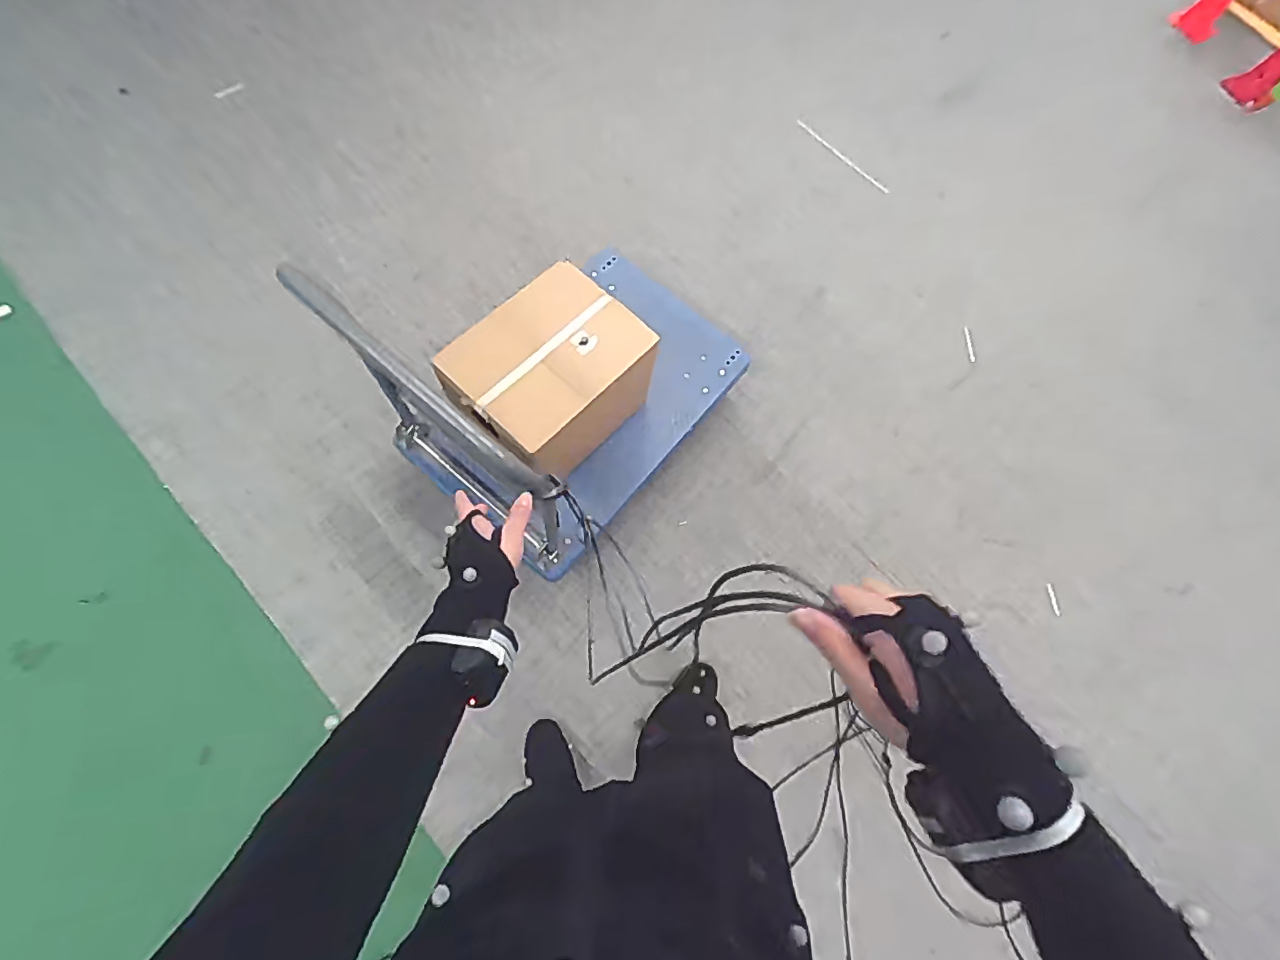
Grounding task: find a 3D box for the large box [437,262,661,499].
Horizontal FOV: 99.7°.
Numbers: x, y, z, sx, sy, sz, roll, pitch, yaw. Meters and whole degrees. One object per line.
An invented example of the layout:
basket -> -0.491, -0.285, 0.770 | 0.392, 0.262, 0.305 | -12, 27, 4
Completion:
large box -> -0.206, -0.227, 1.314 | 0.320, 0.320, 0.408 | 42, 71, 8
